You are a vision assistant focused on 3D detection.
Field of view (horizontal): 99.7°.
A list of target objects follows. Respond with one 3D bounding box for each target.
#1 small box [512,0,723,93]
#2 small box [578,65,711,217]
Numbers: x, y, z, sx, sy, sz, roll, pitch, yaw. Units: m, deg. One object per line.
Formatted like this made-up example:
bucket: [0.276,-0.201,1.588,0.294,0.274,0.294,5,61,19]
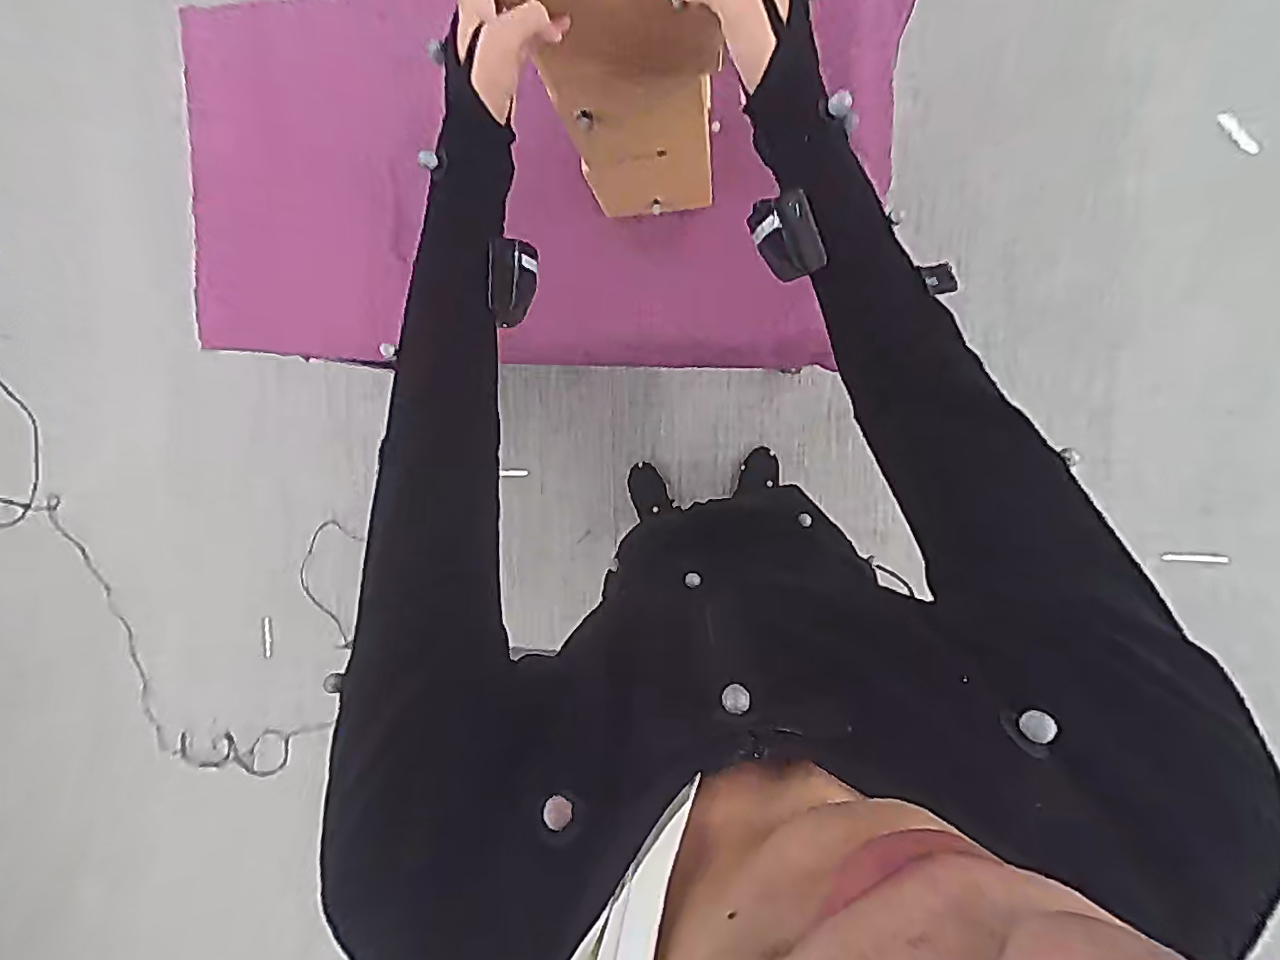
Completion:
small box: [-0.023,-0.456,0.444,0.179,0.176,0.168,-6,100,5]
small box: [0.013,-0.507,0.793,0.179,0.176,0.168,-2,94,8]
